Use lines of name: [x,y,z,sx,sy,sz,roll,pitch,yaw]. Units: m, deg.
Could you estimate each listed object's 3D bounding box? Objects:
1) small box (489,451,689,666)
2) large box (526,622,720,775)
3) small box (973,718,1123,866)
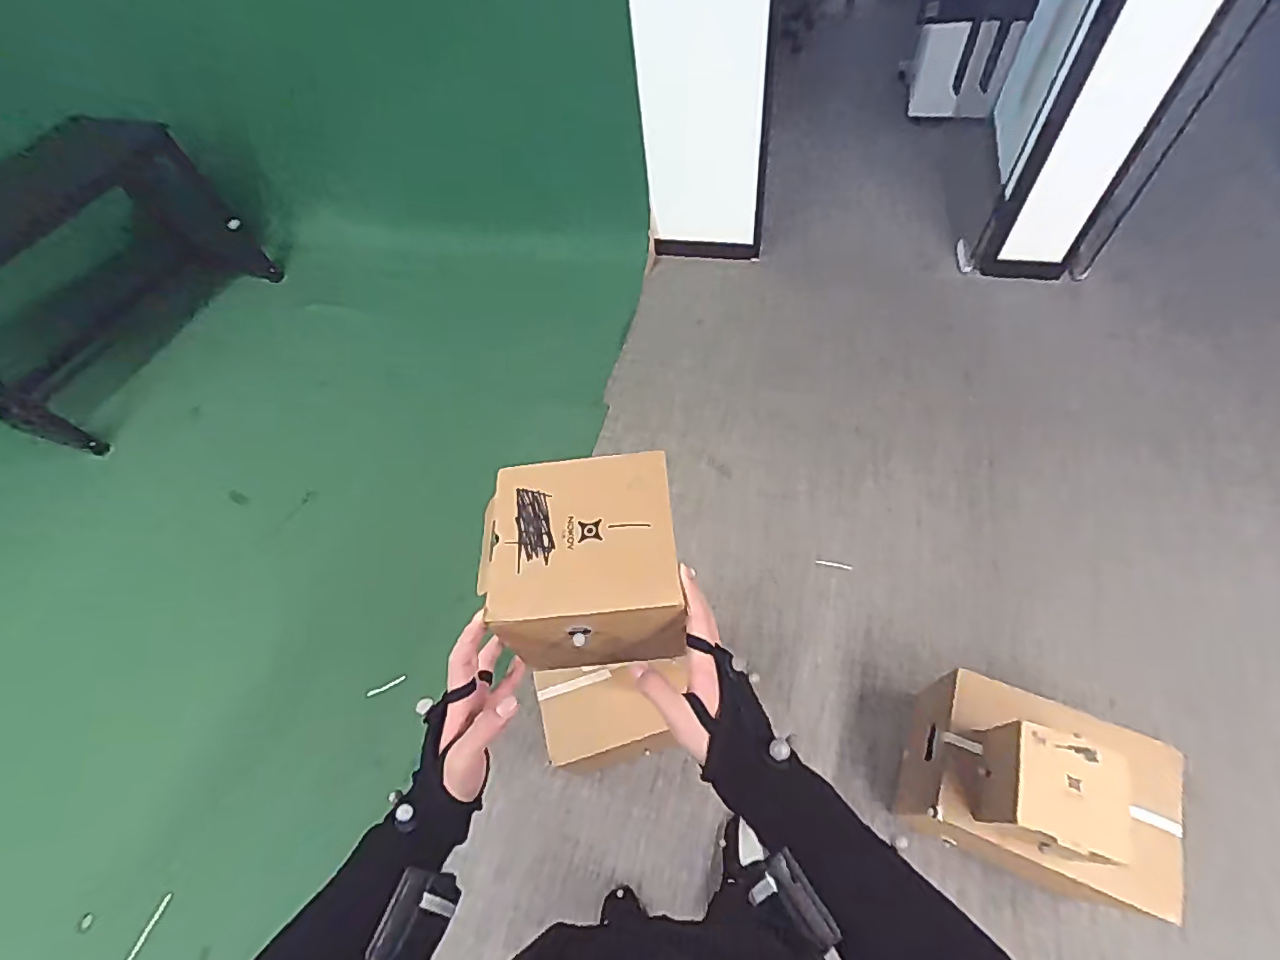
small box: [-0.043,0.090,0.575,0.179,0.176,0.168,-6,57,2]
large box: [-0.035,0.528,1.396,0.408,0.320,0.320,-18,57,-3]
small box: [0.732,0.562,0.986,0.168,0.176,0.179,16,63,16]
